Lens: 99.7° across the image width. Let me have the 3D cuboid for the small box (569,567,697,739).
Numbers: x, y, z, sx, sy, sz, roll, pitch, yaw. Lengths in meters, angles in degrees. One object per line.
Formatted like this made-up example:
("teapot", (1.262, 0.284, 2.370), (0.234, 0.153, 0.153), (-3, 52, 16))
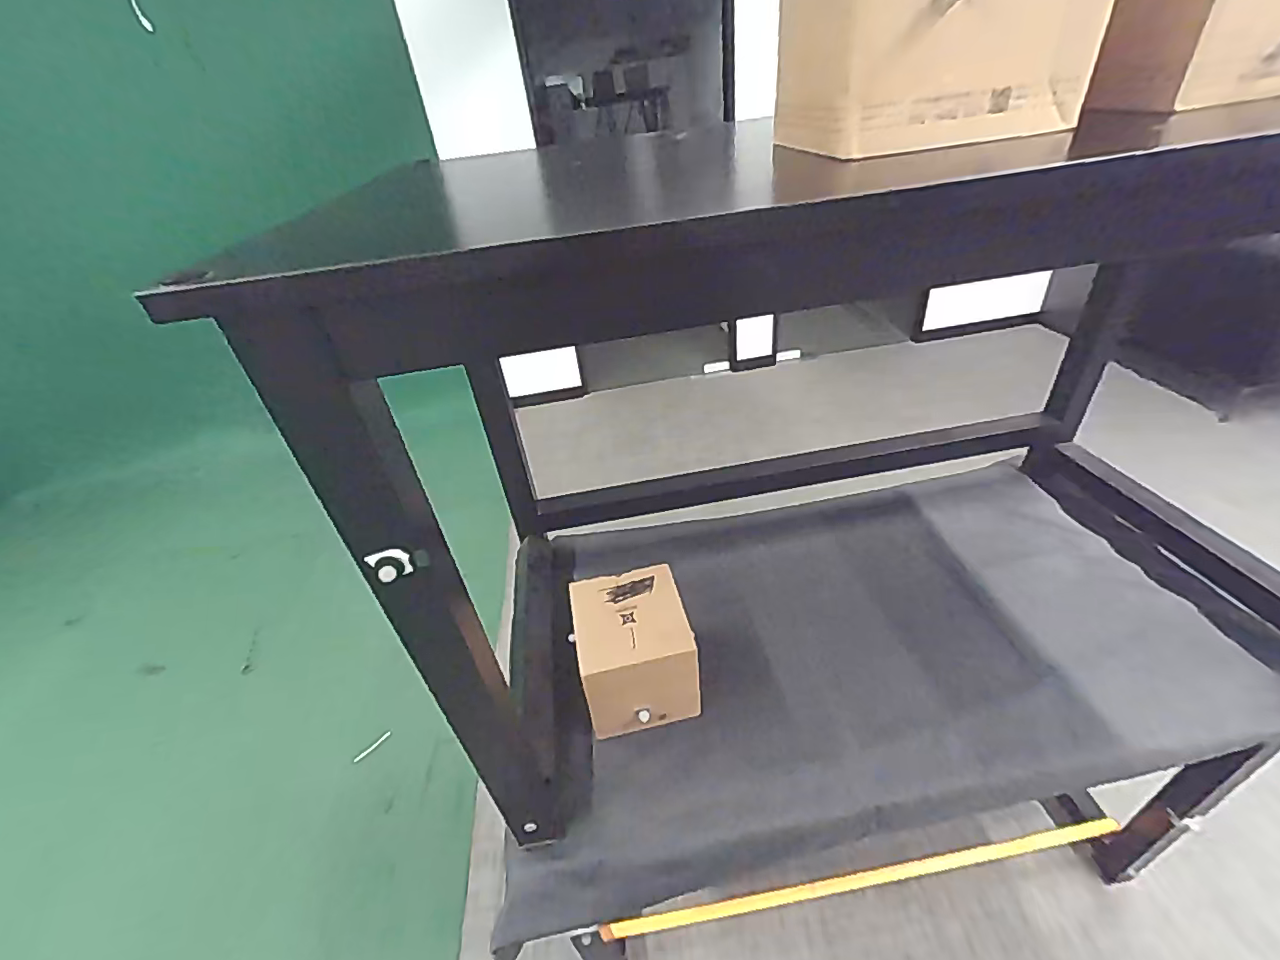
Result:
("small box", (-0.012, 0.267, 0.846), (0.168, 0.176, 0.179), (-11, 36, -5))
